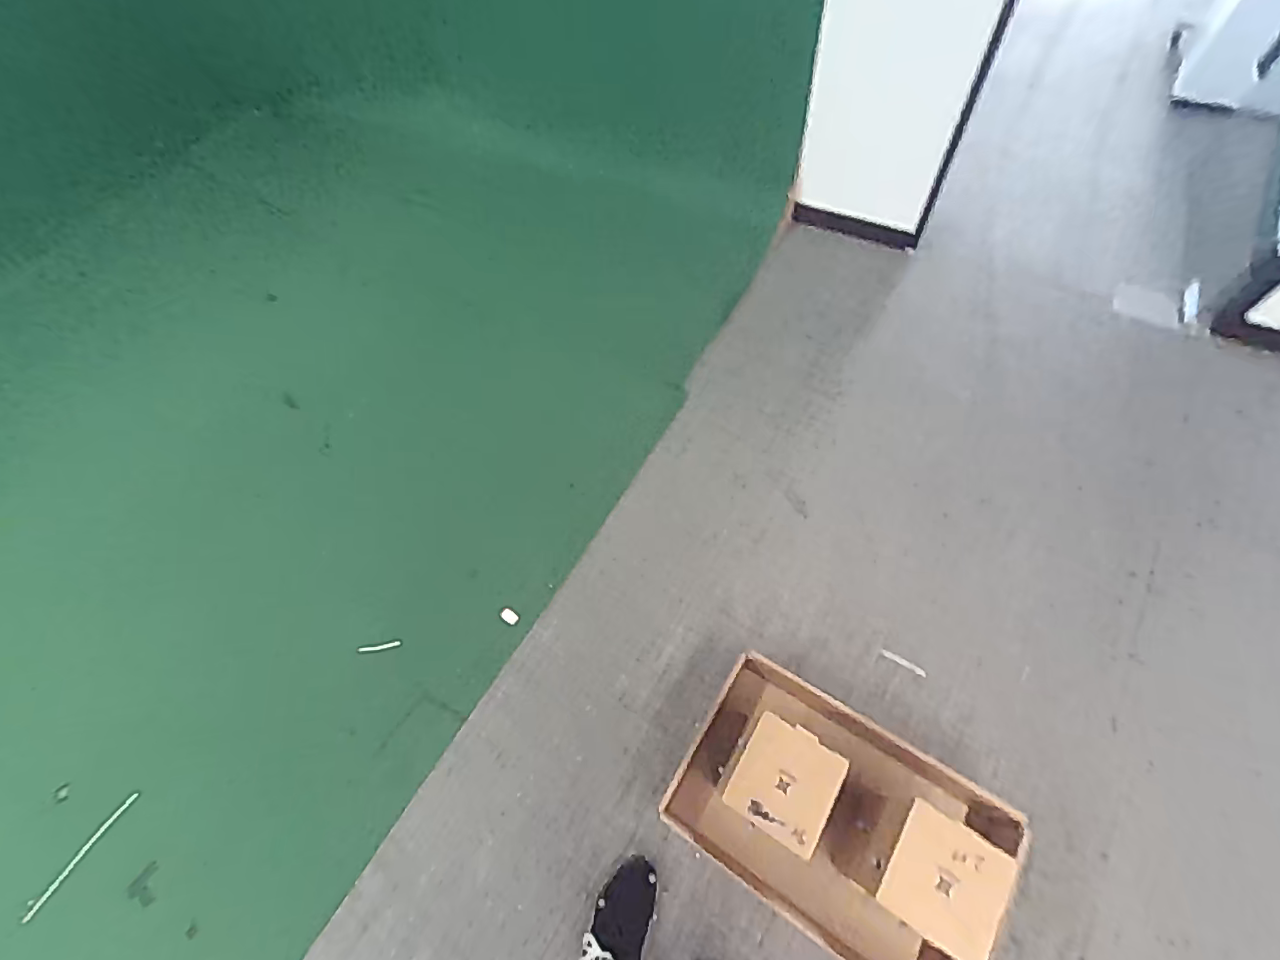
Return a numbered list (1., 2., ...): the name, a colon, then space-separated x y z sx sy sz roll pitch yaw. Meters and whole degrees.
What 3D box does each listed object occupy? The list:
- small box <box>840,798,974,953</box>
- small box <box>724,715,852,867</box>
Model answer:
1. small box: 0.513 0.761 1.063 0.168 0.176 0.179 29 69 21
2. small box: 0.264 0.568 1.006 0.168 0.176 0.179 27 69 20
